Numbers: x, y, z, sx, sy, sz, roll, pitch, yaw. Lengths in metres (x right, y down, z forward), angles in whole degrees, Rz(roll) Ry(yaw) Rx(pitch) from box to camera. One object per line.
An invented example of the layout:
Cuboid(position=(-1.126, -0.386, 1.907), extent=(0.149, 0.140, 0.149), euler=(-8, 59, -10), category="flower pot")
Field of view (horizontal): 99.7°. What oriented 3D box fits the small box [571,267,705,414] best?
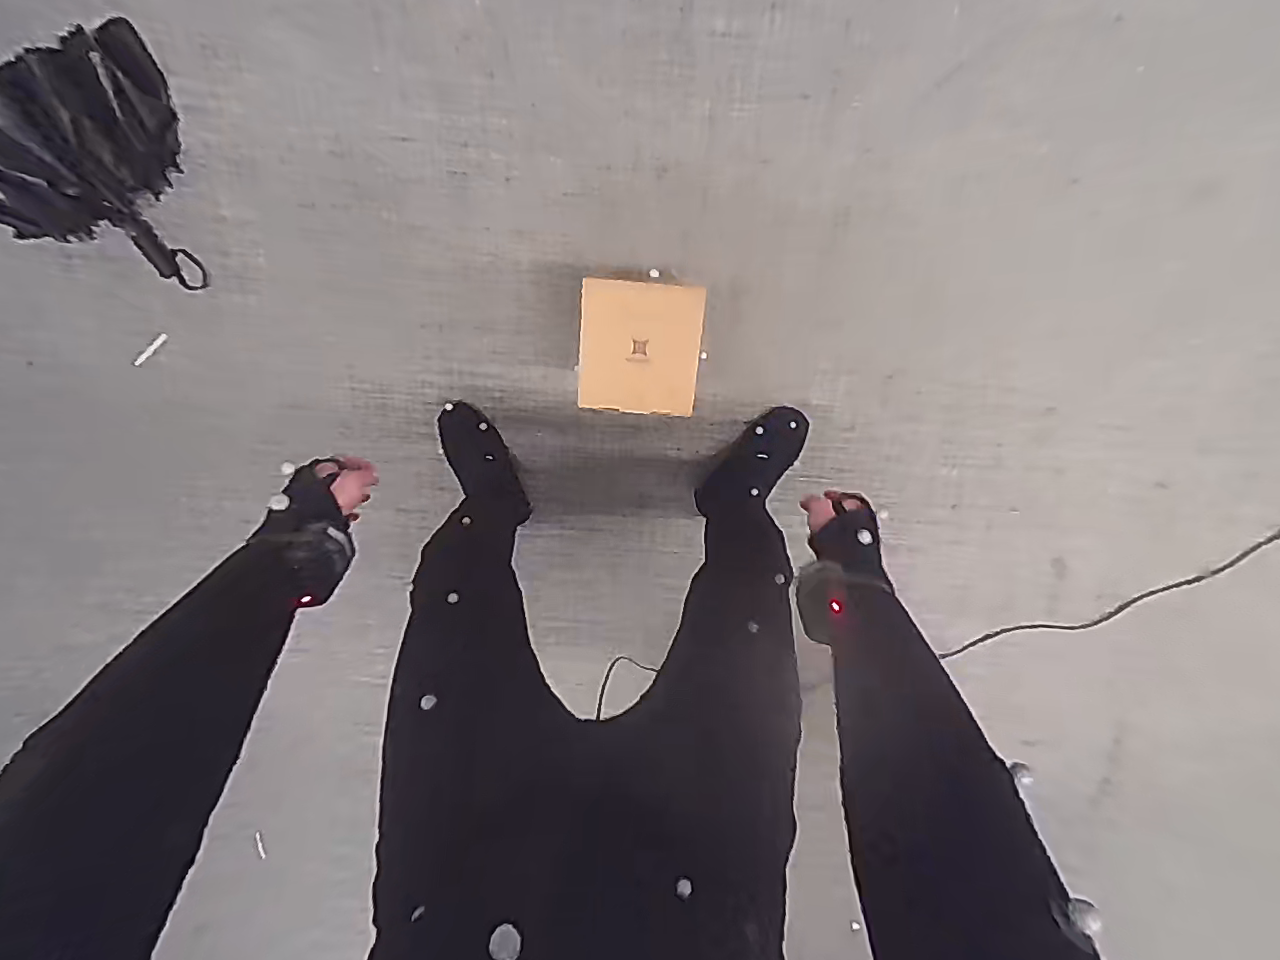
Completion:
Cuboid(position=(-0.004, -0.206, 0.776), extent=(0.168, 0.176, 0.179), euler=(4, 112, -1), category="small box")
